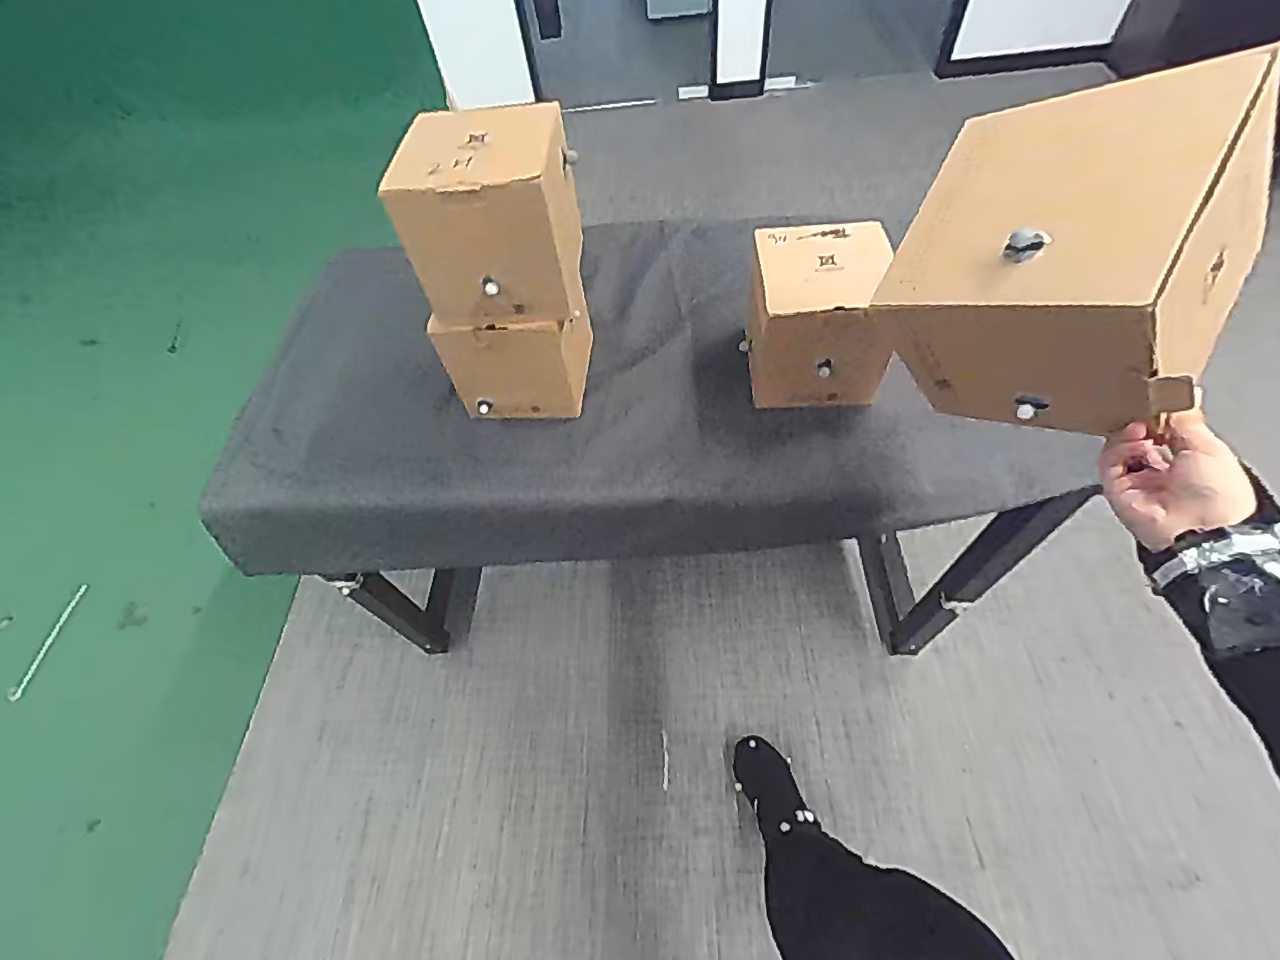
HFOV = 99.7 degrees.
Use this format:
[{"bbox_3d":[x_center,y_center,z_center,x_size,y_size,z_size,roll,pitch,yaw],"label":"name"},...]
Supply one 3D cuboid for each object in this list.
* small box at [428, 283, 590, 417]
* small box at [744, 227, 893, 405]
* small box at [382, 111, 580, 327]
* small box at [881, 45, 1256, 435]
[{"bbox_3d":[-0.171,-0.204,0.774,0.168,0.176,0.179,1,55,6],"label":"small box"},{"bbox_3d":[0.234,-0.215,0.740,0.168,0.176,0.179,-1,56,5],"label":"small box"},{"bbox_3d":[-0.169,-0.305,0.643,0.168,0.176,0.179,-2,55,5],"label":"small box"},{"bbox_3d":[0.311,-0.160,0.411,0.176,0.168,0.179,22,82,50],"label":"small box"}]
